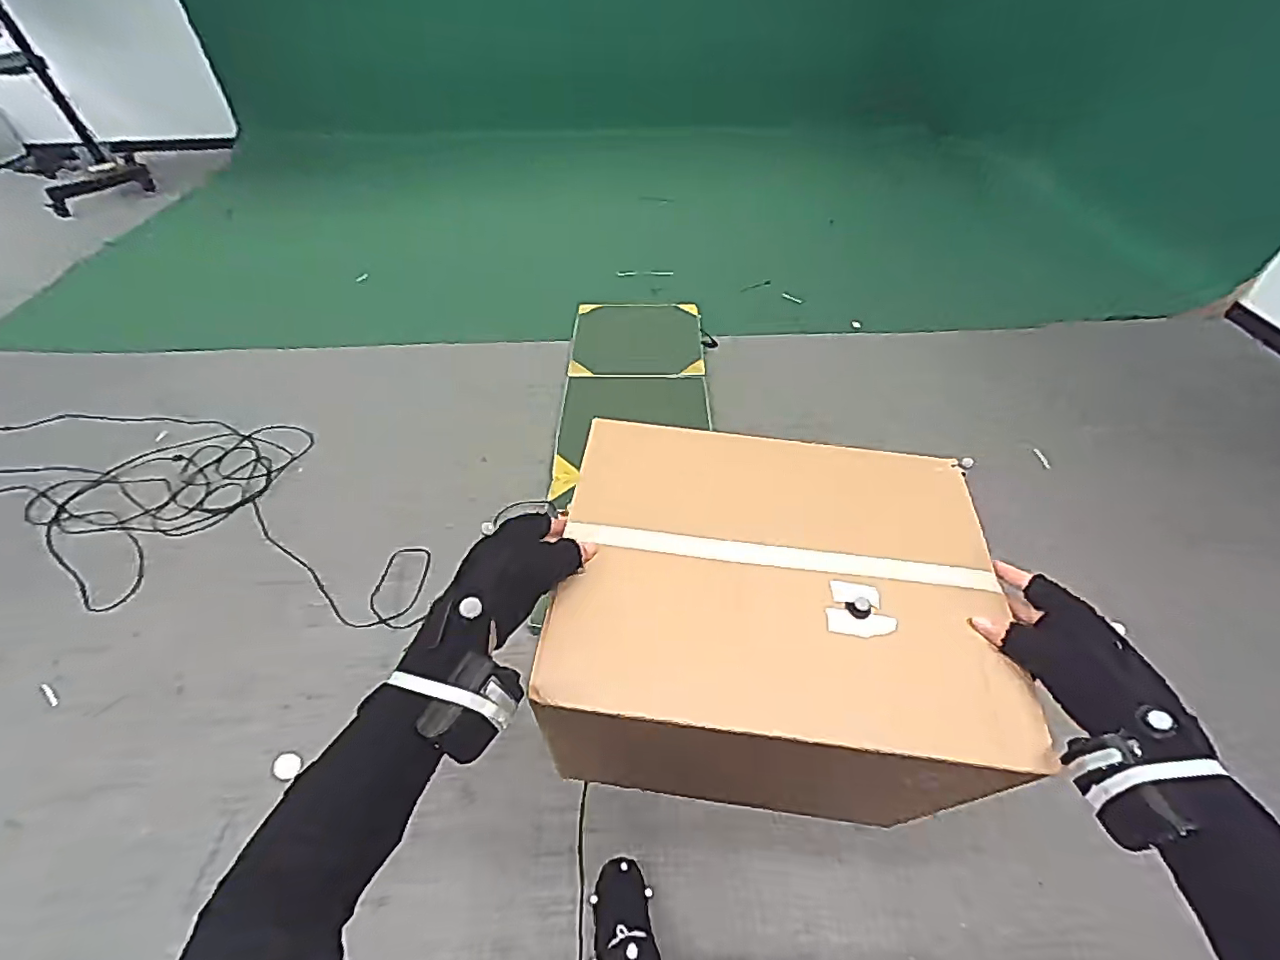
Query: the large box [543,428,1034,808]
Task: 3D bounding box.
[{"bbox_3d":[0.121,0.169,0.638,0.408,0.320,0.320,6,52,2],"label":"large box"}]
